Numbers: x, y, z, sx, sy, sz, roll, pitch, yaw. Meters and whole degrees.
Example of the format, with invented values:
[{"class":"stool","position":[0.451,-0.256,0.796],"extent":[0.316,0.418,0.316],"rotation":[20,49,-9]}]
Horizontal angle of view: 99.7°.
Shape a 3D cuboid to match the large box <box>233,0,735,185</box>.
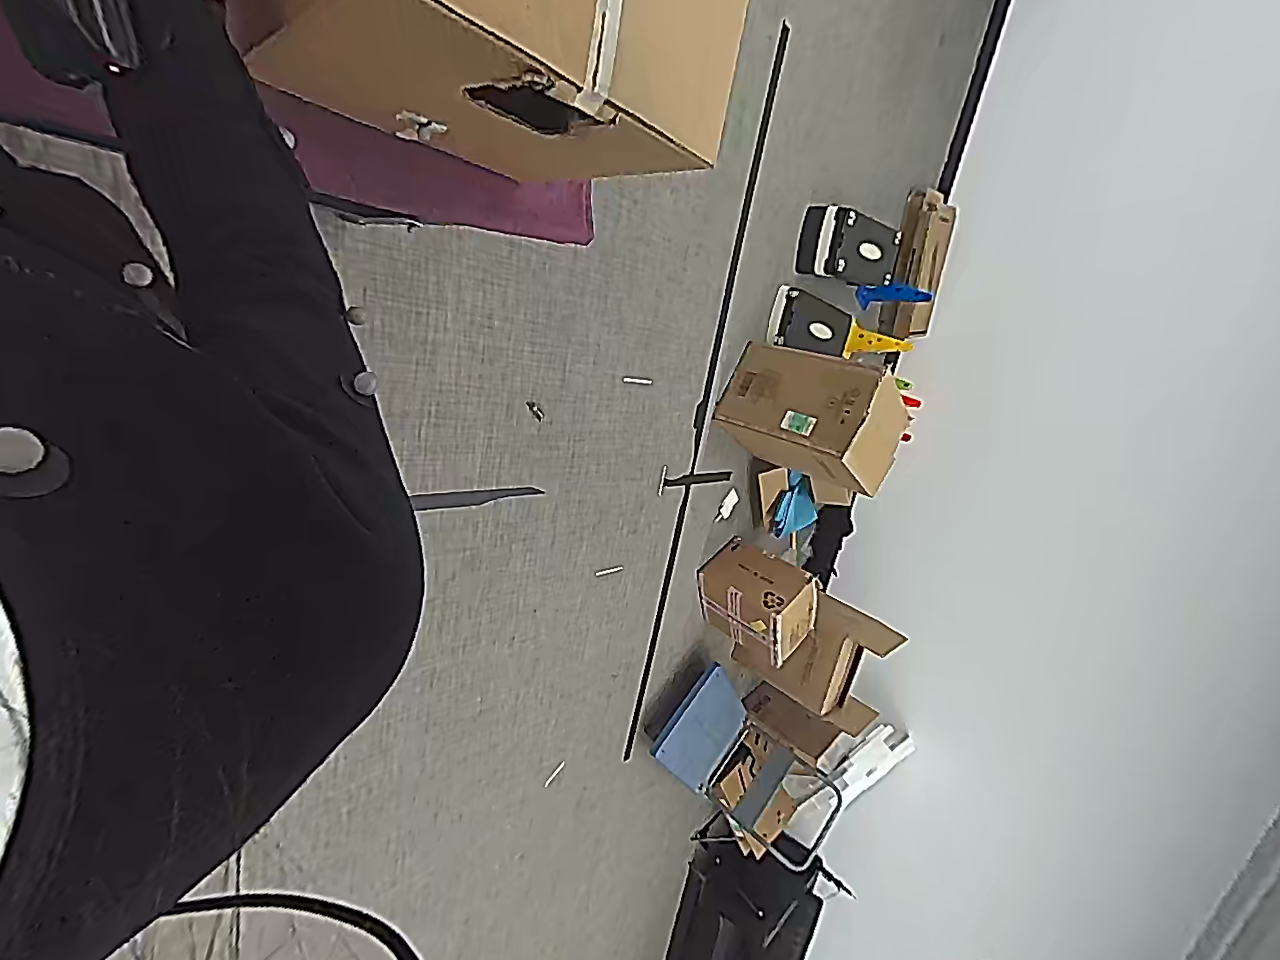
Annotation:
[{"class":"large box","position":[-0.118,-0.506,0.437],"extent":[0.320,0.320,0.408],"rotation":[-6,112,-47]}]
